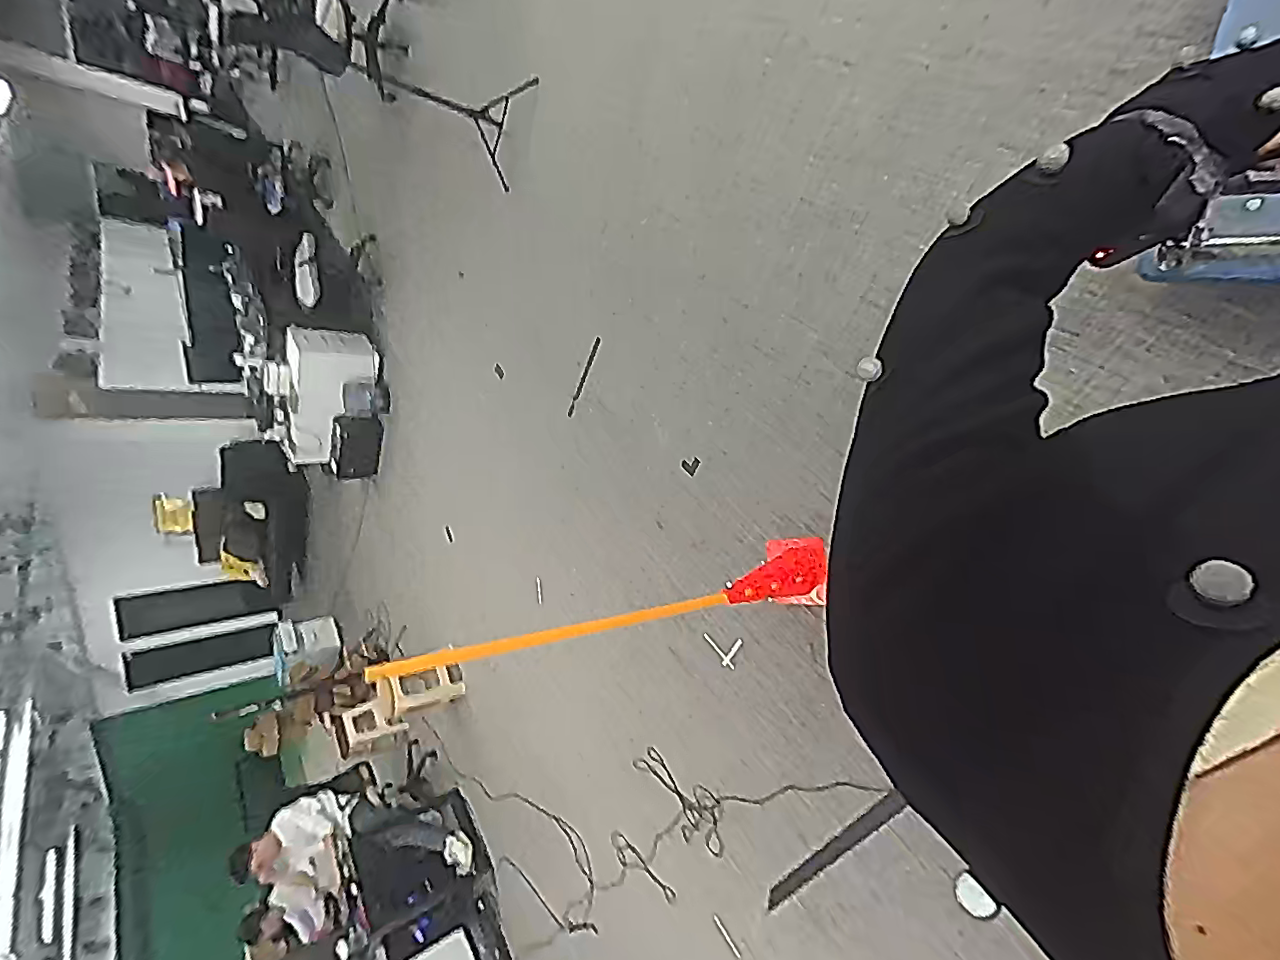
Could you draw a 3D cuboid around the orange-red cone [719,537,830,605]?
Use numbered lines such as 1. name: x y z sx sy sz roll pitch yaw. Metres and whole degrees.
1. orange-red cone: 0.347 0.286 1.511 0.199 0.360 0.198 -10 88 47
